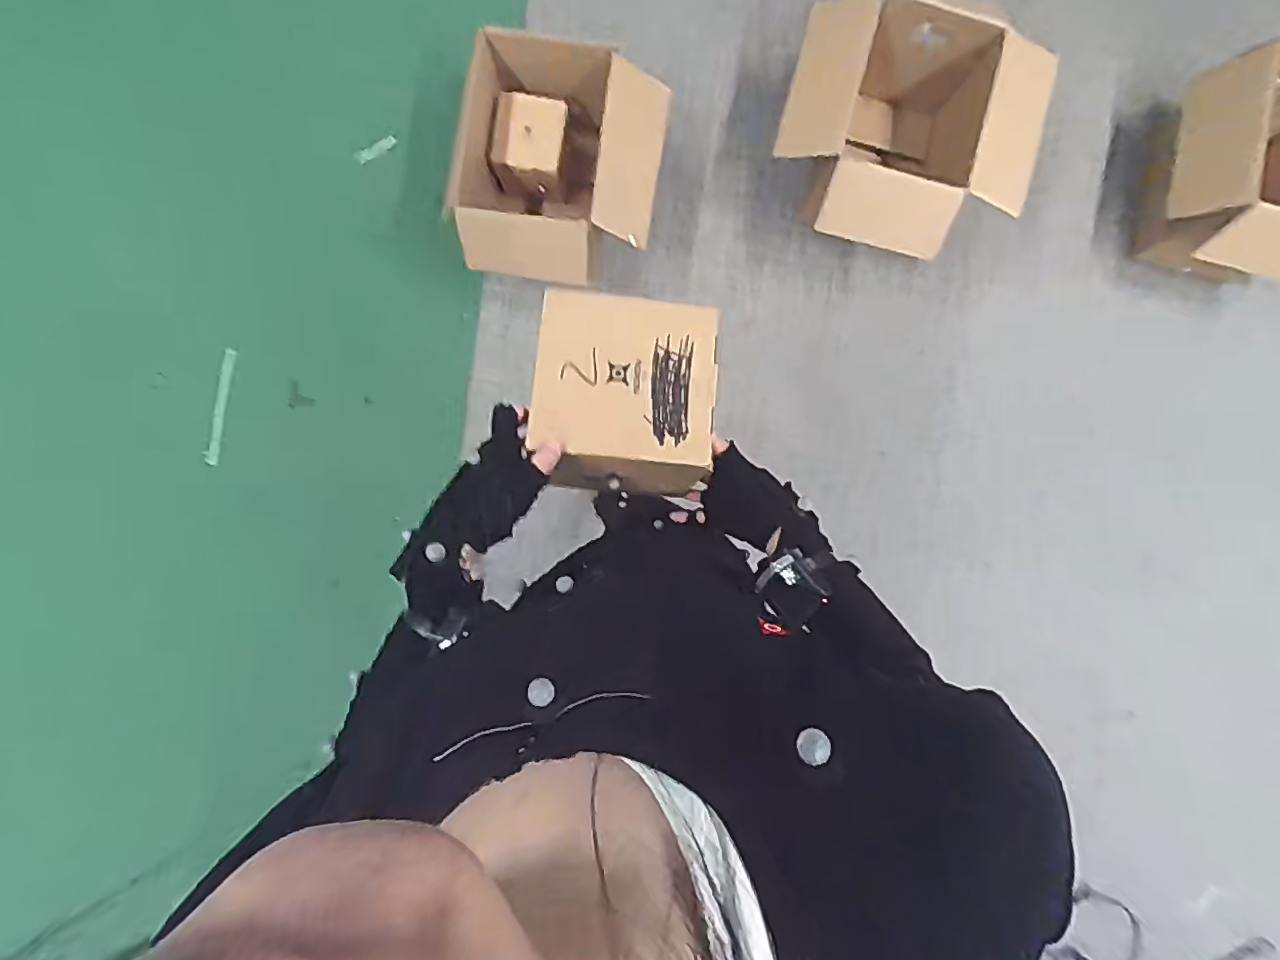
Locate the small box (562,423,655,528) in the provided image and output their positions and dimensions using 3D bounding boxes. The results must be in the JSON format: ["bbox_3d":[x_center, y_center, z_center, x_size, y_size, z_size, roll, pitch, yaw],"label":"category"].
[{"bbox_3d":[-0.074,-0.010,1.409,0.168,0.176,0.179,32,65,26],"label":"small box"}]
